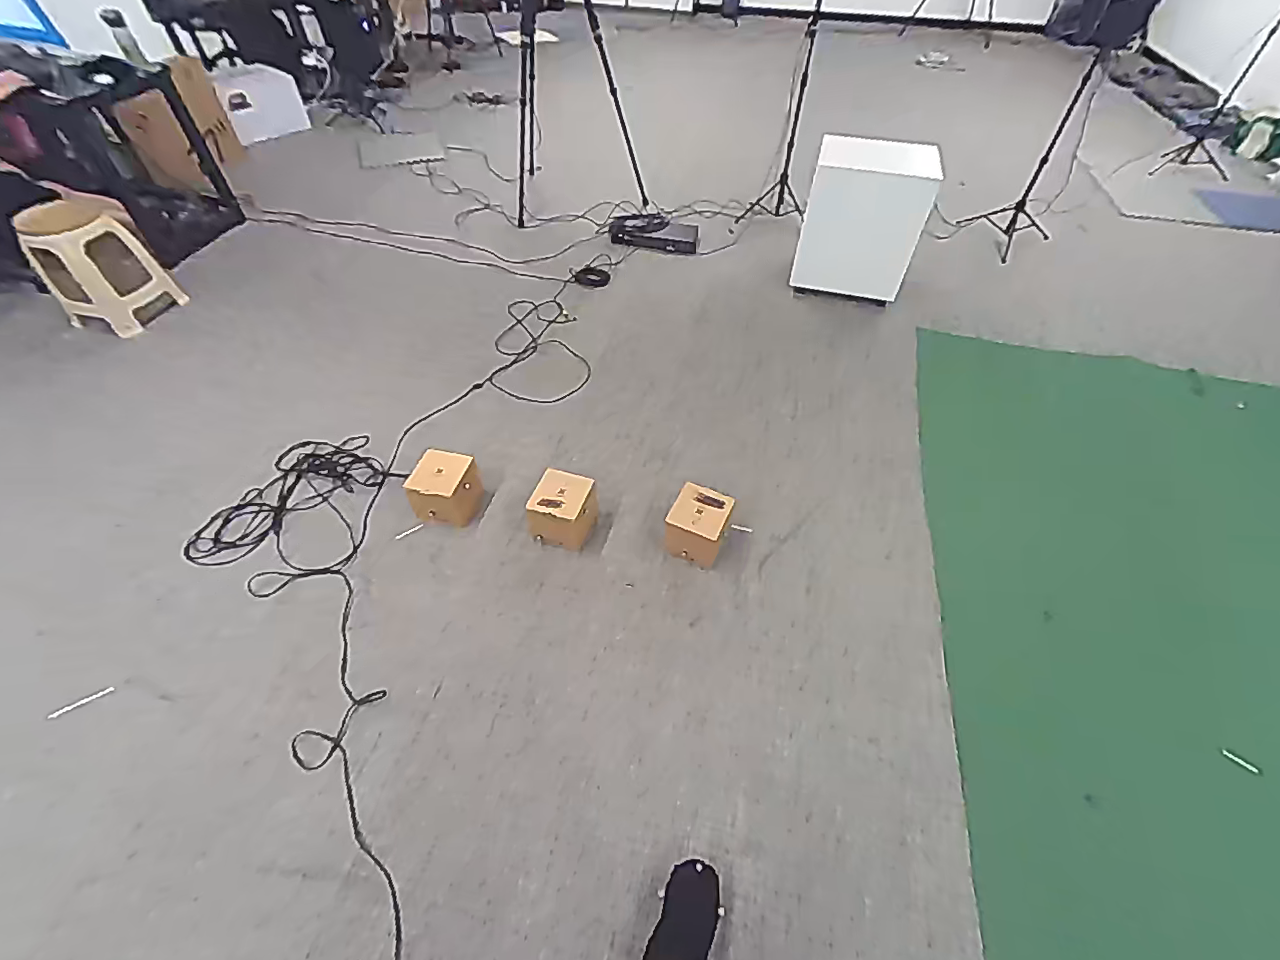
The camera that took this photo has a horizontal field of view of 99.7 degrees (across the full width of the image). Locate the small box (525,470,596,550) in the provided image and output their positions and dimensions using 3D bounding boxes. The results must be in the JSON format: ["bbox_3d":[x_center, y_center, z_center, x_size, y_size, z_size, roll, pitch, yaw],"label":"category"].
[{"bbox_3d":[-0.247,0.099,1.736,0.168,0.176,0.179,14,50,11],"label":"small box"}]

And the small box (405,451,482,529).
[{"bbox_3d":[-0.641,0.033,1.790,0.168,0.176,0.179,10,51,8],"label":"small box"}]
